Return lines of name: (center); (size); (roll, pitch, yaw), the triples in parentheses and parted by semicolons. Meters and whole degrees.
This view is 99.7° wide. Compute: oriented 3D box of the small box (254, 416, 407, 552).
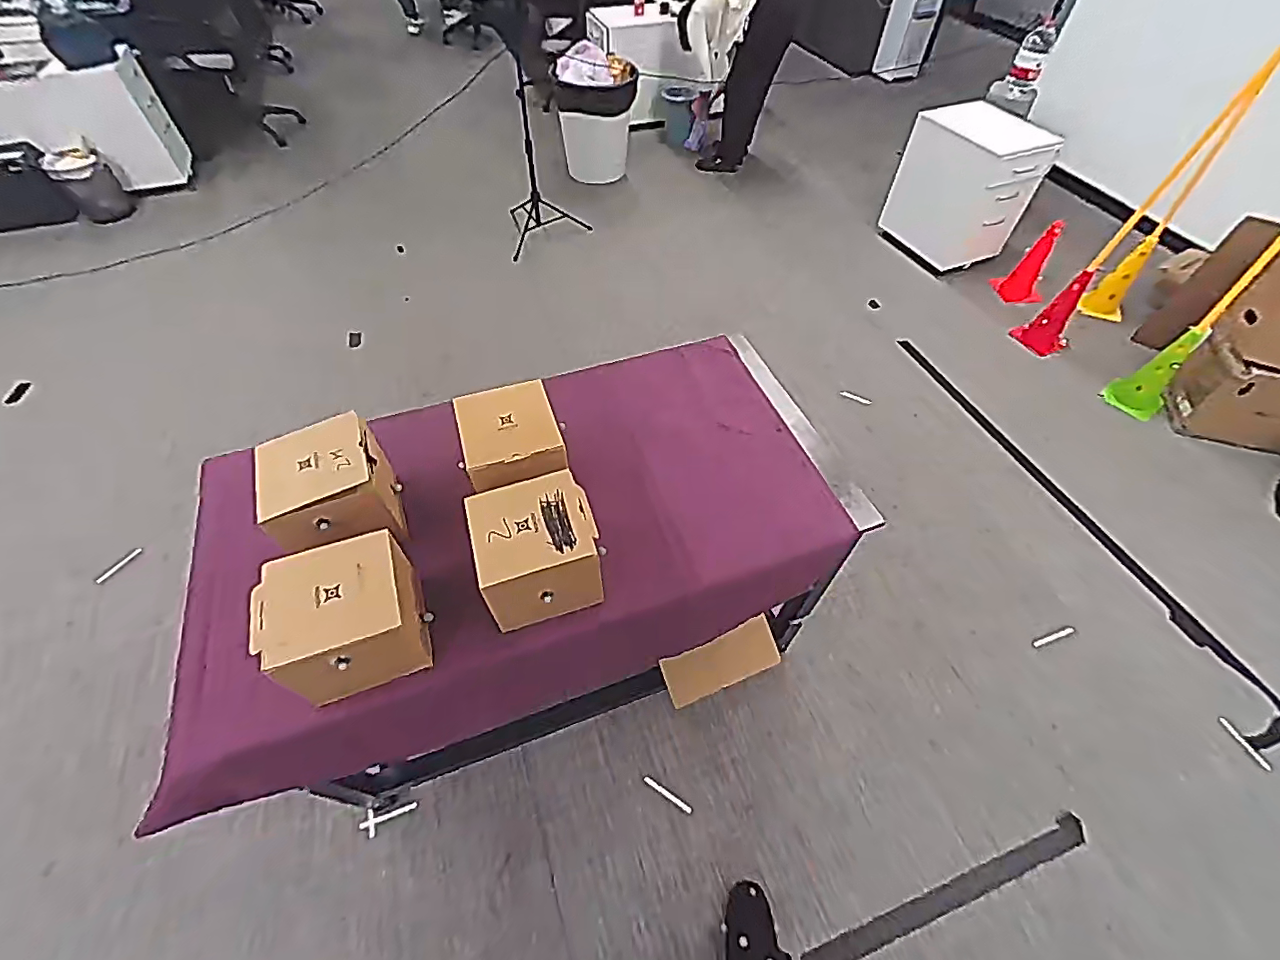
small box: (-0.529, 0.022, 0.936); (0.179, 0.176, 0.168); (-18, 57, -15)

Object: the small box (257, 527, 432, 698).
small box: (-0.431, 0.202, 0.807); (0.179, 0.176, 0.168); (-16, 56, -14)
